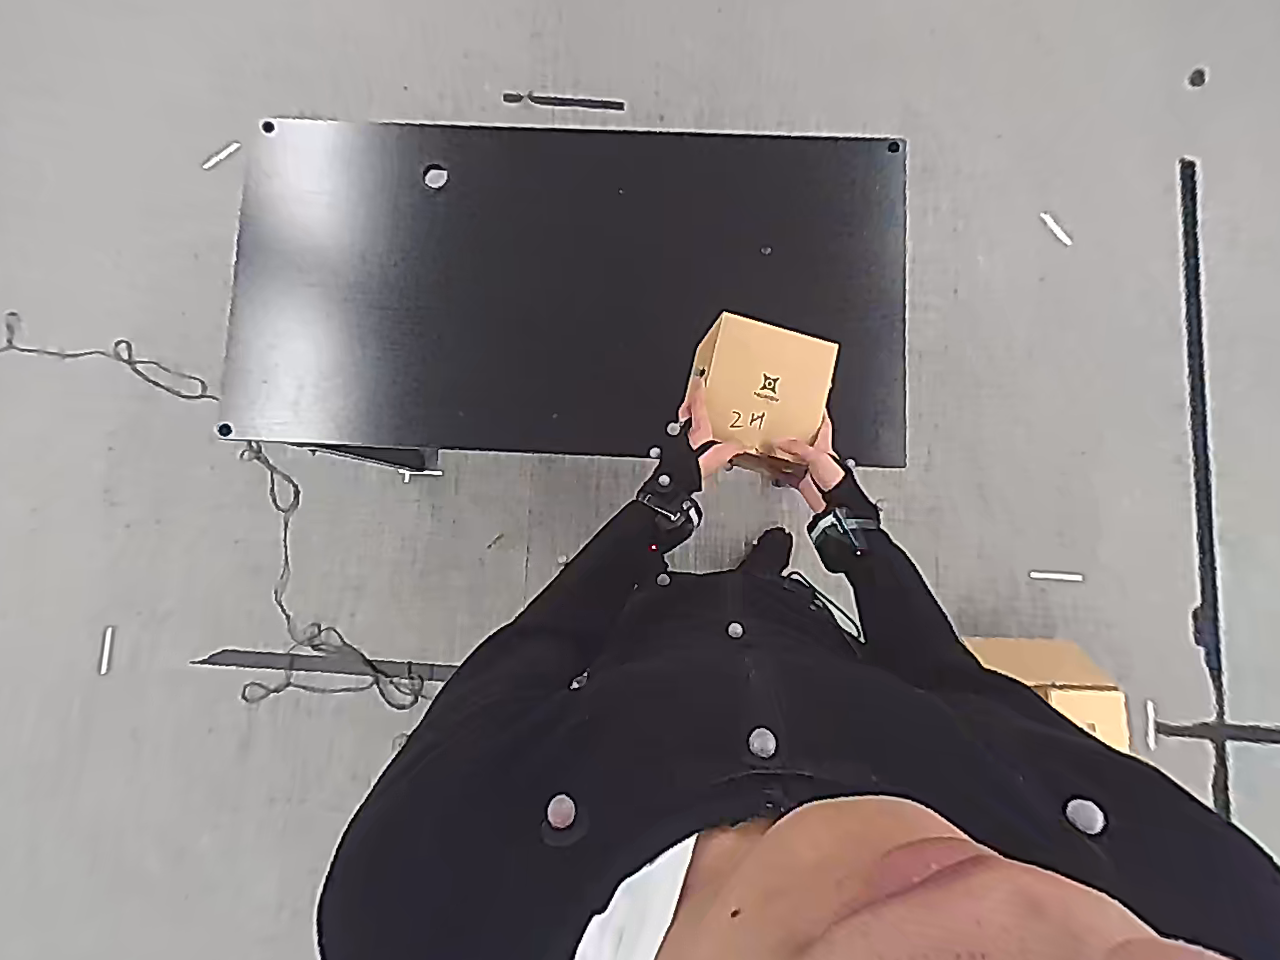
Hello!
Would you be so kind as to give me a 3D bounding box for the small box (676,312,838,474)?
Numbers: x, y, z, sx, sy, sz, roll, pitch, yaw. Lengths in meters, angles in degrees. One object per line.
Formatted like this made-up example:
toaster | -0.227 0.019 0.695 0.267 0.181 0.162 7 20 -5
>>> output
small box | 0.158 -0.114 0.788 0.168 0.176 0.179 15 86 -5
